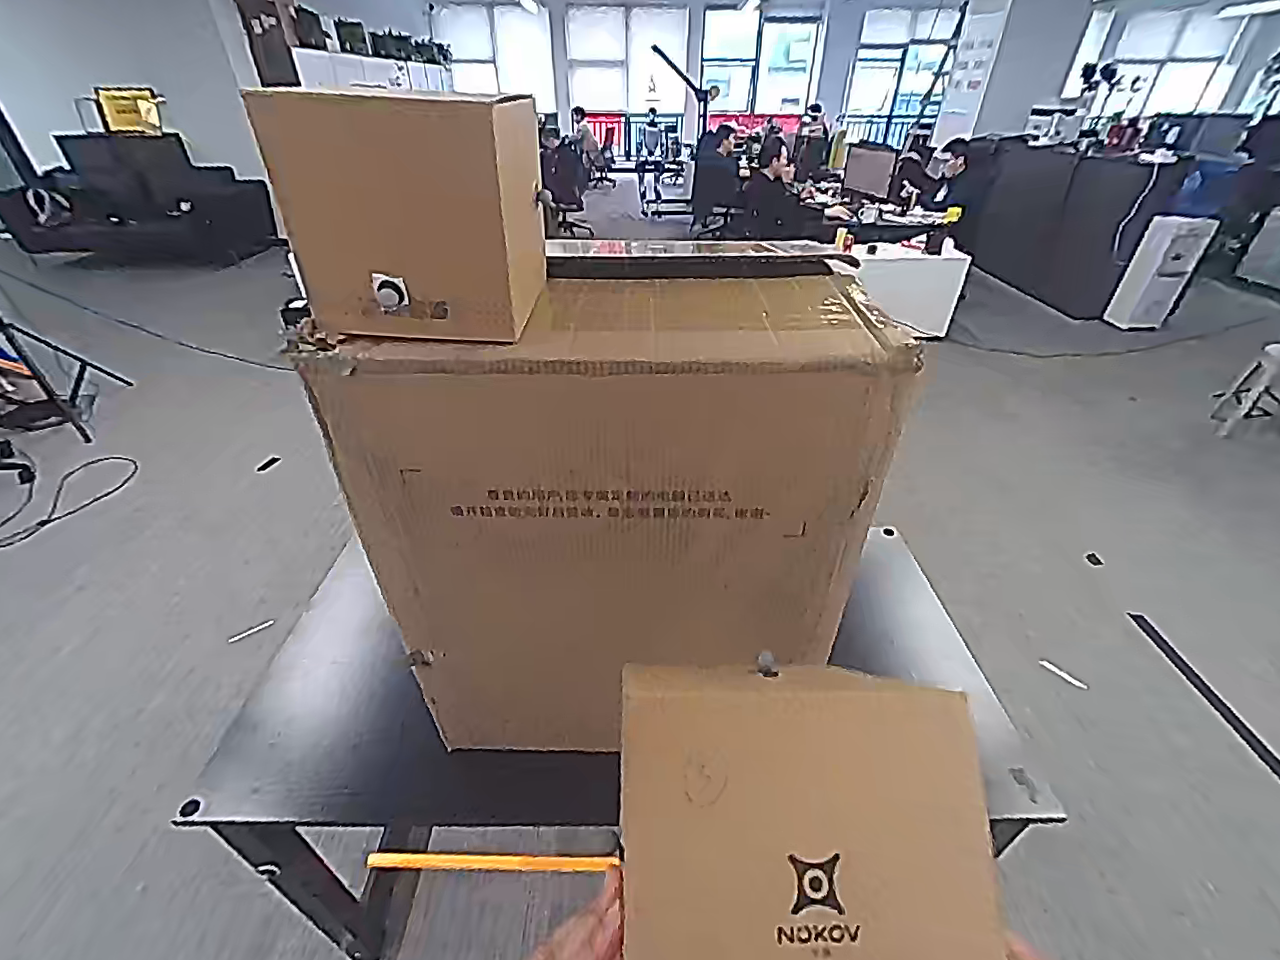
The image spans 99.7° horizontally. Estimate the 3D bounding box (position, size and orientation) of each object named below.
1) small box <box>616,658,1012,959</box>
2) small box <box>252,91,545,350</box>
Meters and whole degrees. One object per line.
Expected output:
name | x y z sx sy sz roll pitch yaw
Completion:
small box | 0.071 0.198 0.308 0.168 0.176 0.179 1 76 -2
small box | -0.177 -0.227 0.468 0.168 0.176 0.179 1 37 -1
